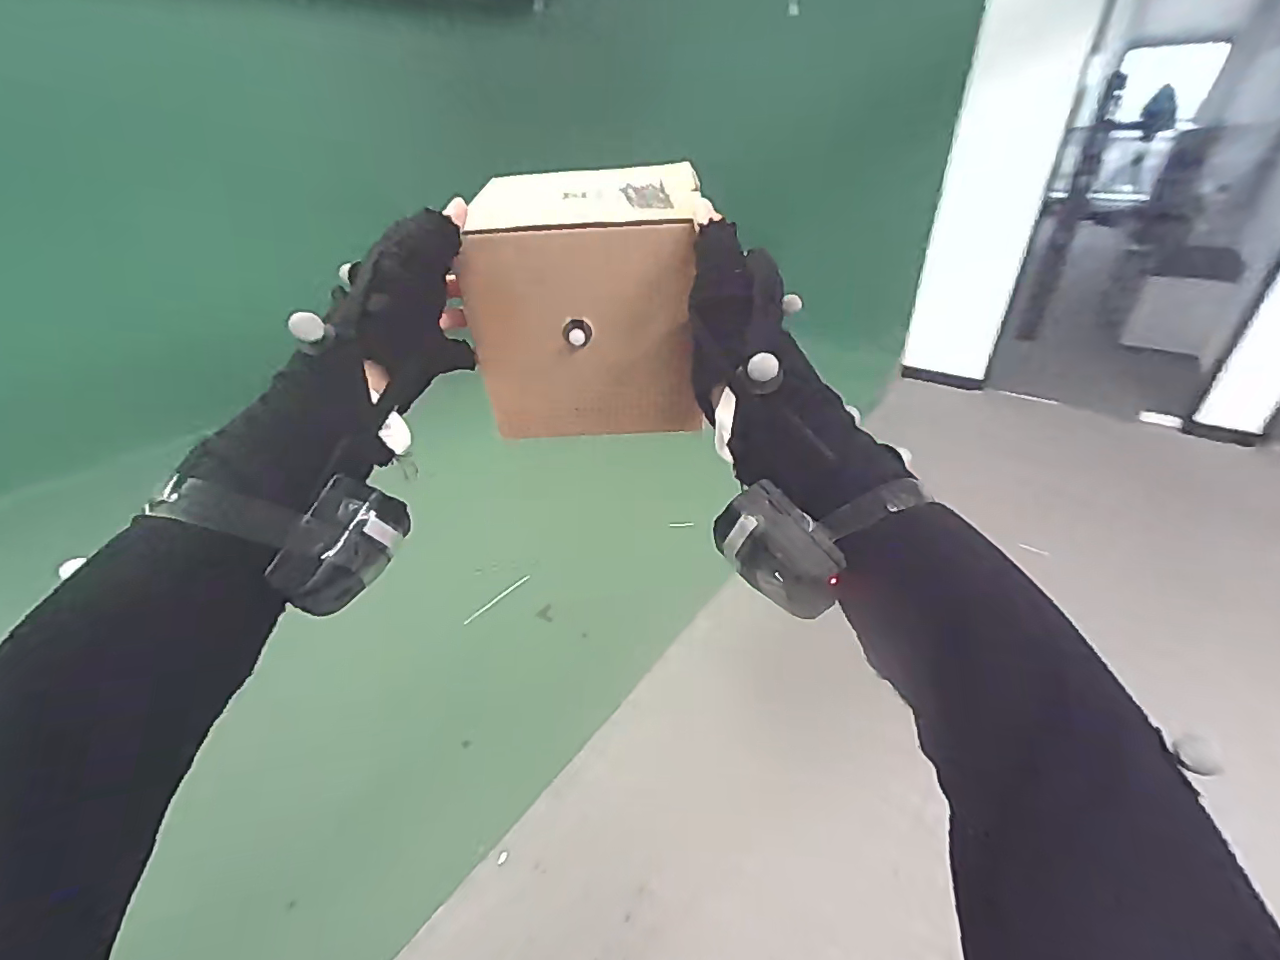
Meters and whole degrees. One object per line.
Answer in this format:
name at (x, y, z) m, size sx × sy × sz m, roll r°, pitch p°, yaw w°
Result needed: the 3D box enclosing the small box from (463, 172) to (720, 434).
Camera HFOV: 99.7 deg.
small box at (-0.029, -0.153, 0.473) m, size 0.179 × 0.176 × 0.168 m, roll -2°, pitch 40°, yaw 3°
